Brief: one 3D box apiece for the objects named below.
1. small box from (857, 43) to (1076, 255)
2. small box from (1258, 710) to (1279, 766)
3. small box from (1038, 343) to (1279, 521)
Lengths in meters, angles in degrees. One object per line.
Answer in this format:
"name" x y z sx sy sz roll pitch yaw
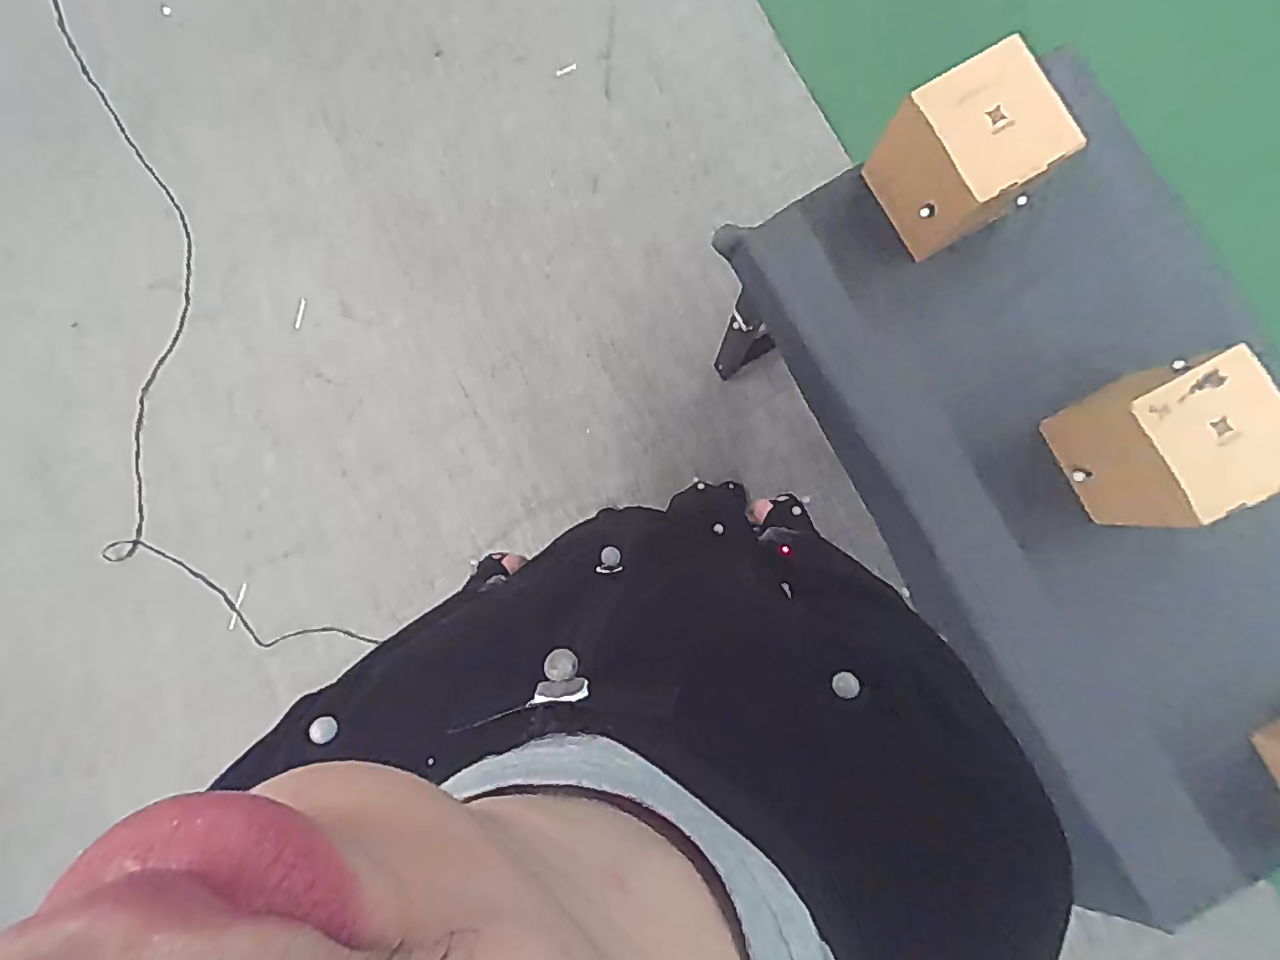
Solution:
"small box" 0.455 -0.458 0.783 0.168 0.176 0.179 -31 86 -4
"small box" 1.016 0.393 0.721 0.168 0.176 0.179 -28 87 -2
"small box" 0.722 -0.058 0.755 0.168 0.176 0.179 -29 87 -2
